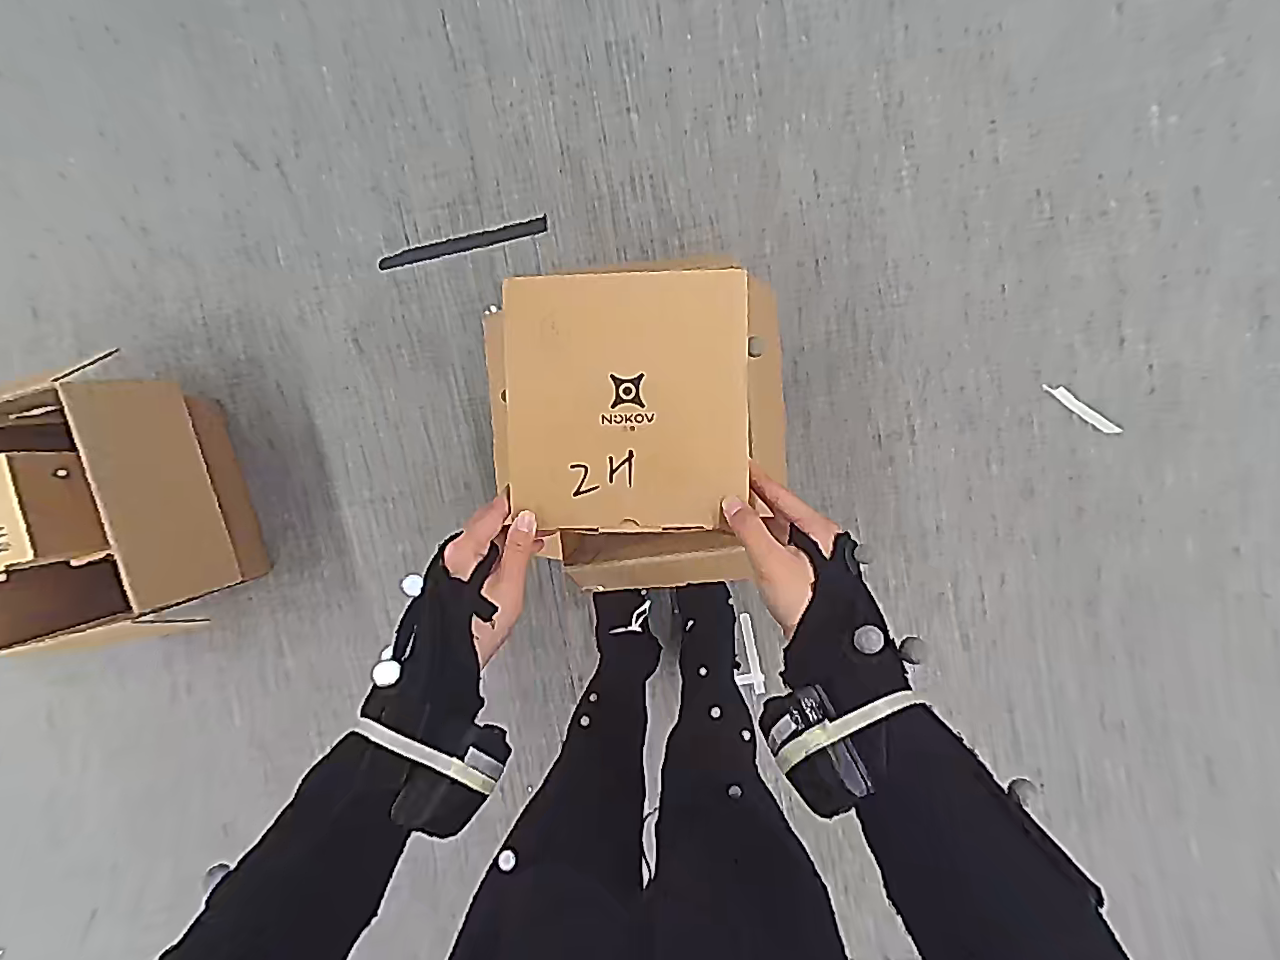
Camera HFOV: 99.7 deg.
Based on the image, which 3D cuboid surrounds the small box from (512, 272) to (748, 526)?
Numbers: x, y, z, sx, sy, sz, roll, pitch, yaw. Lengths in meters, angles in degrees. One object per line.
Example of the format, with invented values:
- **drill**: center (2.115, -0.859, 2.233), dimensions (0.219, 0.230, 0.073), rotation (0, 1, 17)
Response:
- **small box**: center (-0.004, -0.059, 0.454), dimensions (0.168, 0.176, 0.179), rotation (-1, 94, 3)
